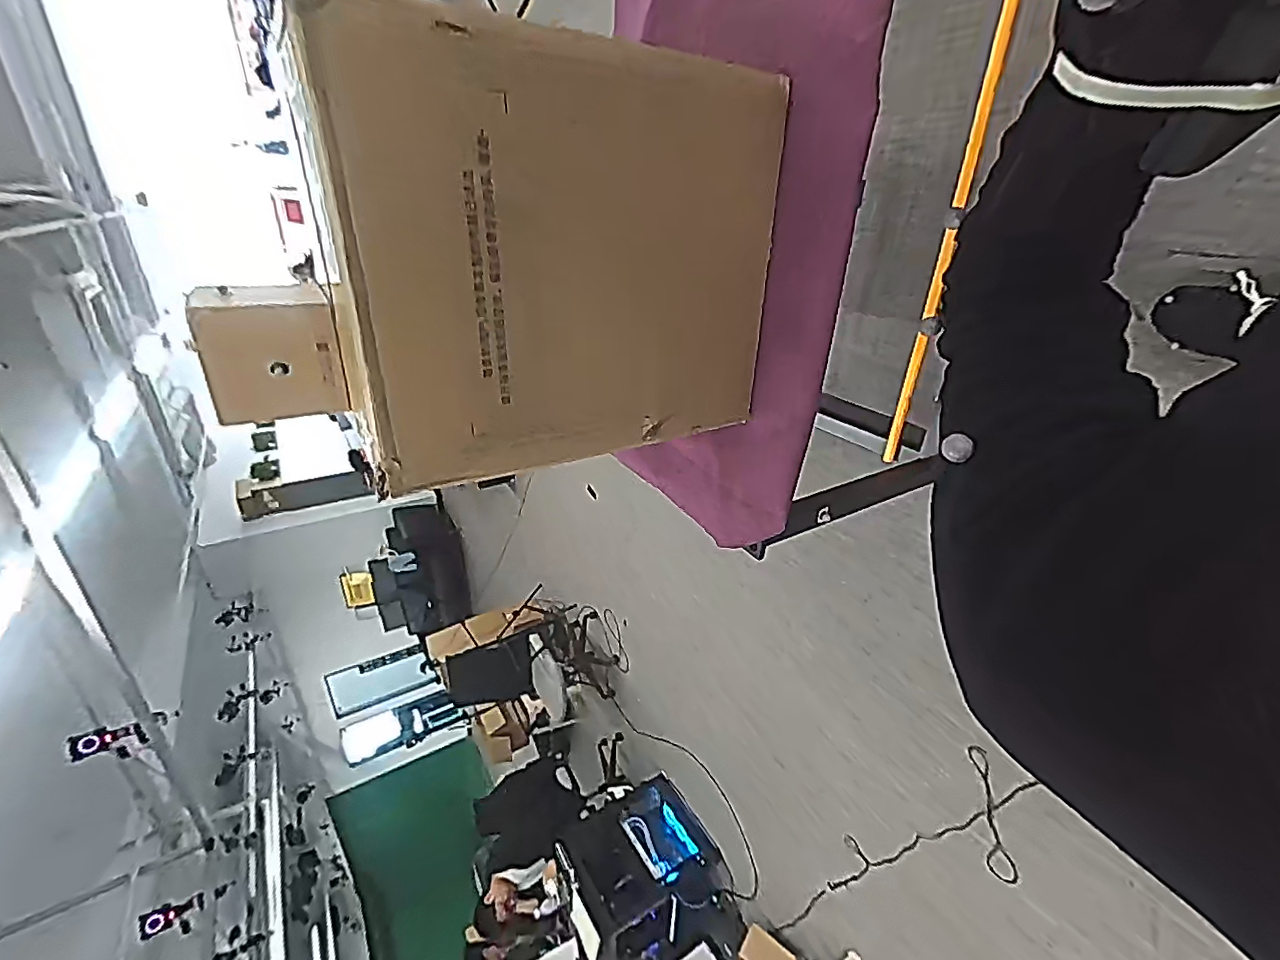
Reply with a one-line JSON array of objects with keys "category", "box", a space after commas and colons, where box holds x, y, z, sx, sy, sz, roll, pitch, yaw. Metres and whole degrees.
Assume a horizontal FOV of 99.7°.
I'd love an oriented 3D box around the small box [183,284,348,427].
[{"category": "small box", "box": [-0.552, -0.197, 0.815, 0.179, 0.176, 0.168, 39, 133, 47]}]
